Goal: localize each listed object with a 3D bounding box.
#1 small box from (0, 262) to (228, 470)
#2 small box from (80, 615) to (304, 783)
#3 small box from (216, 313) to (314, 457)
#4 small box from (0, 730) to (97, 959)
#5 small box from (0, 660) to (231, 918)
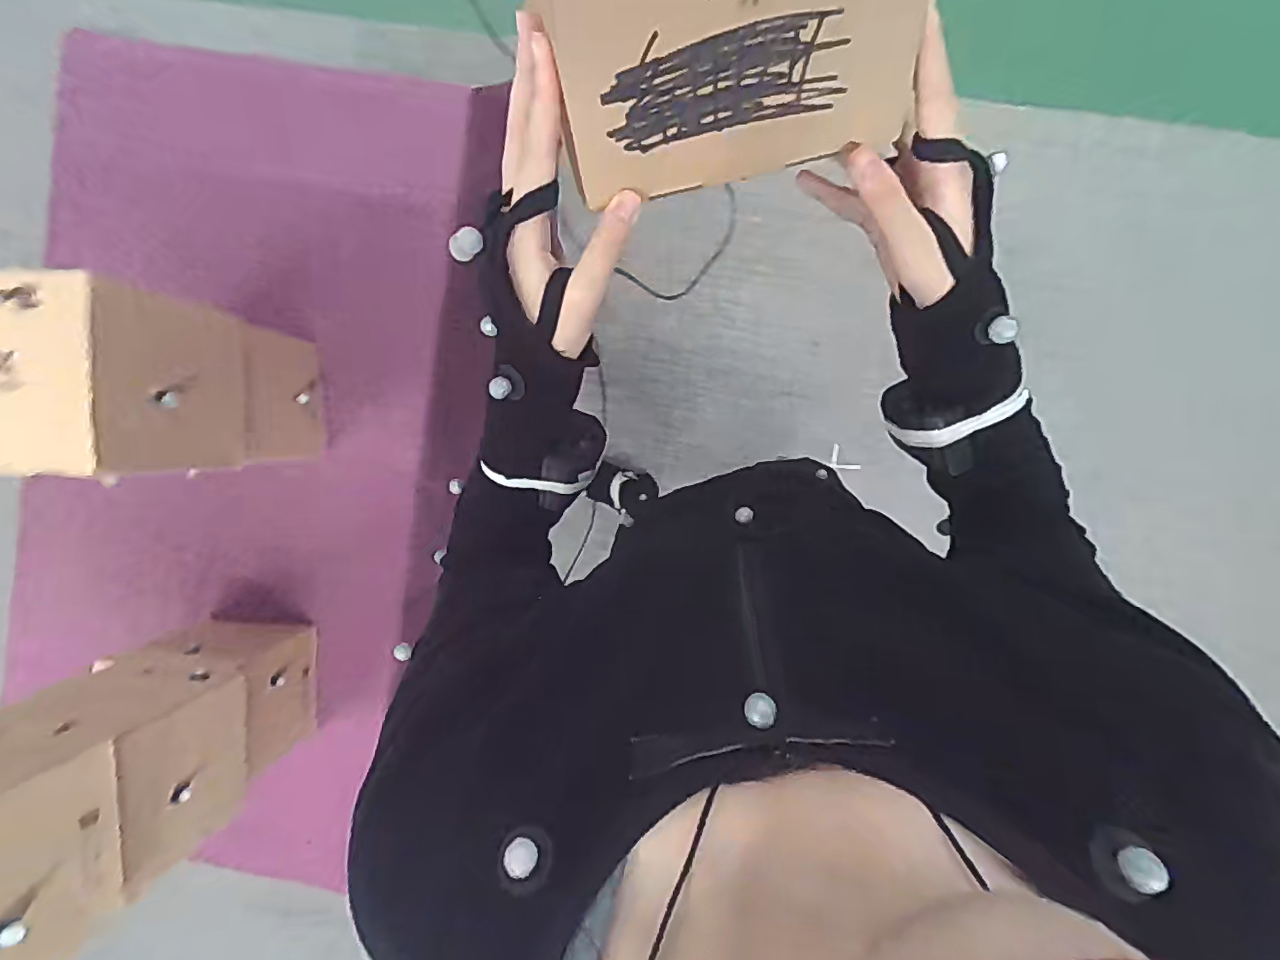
[{"bbox_3d":[-0.553,-0.105,0.541,0.168,0.176,0.179,2,94,2],"label":"small box"},{"bbox_3d":[-0.591,0.290,0.735,0.179,0.176,0.168,3,93,3],"label":"small box"},{"bbox_3d":[-0.566,-0.114,0.706,0.179,0.176,0.168,-3,94,3],"label":"small box"},{"bbox_3d":[-0.568,0.307,0.408,0.179,0.176,0.168,-1,93,3],"label":"small box"},{"bbox_3d":[-0.573,0.306,0.571,0.168,0.176,0.179,3,93,2],"label":"small box"}]
